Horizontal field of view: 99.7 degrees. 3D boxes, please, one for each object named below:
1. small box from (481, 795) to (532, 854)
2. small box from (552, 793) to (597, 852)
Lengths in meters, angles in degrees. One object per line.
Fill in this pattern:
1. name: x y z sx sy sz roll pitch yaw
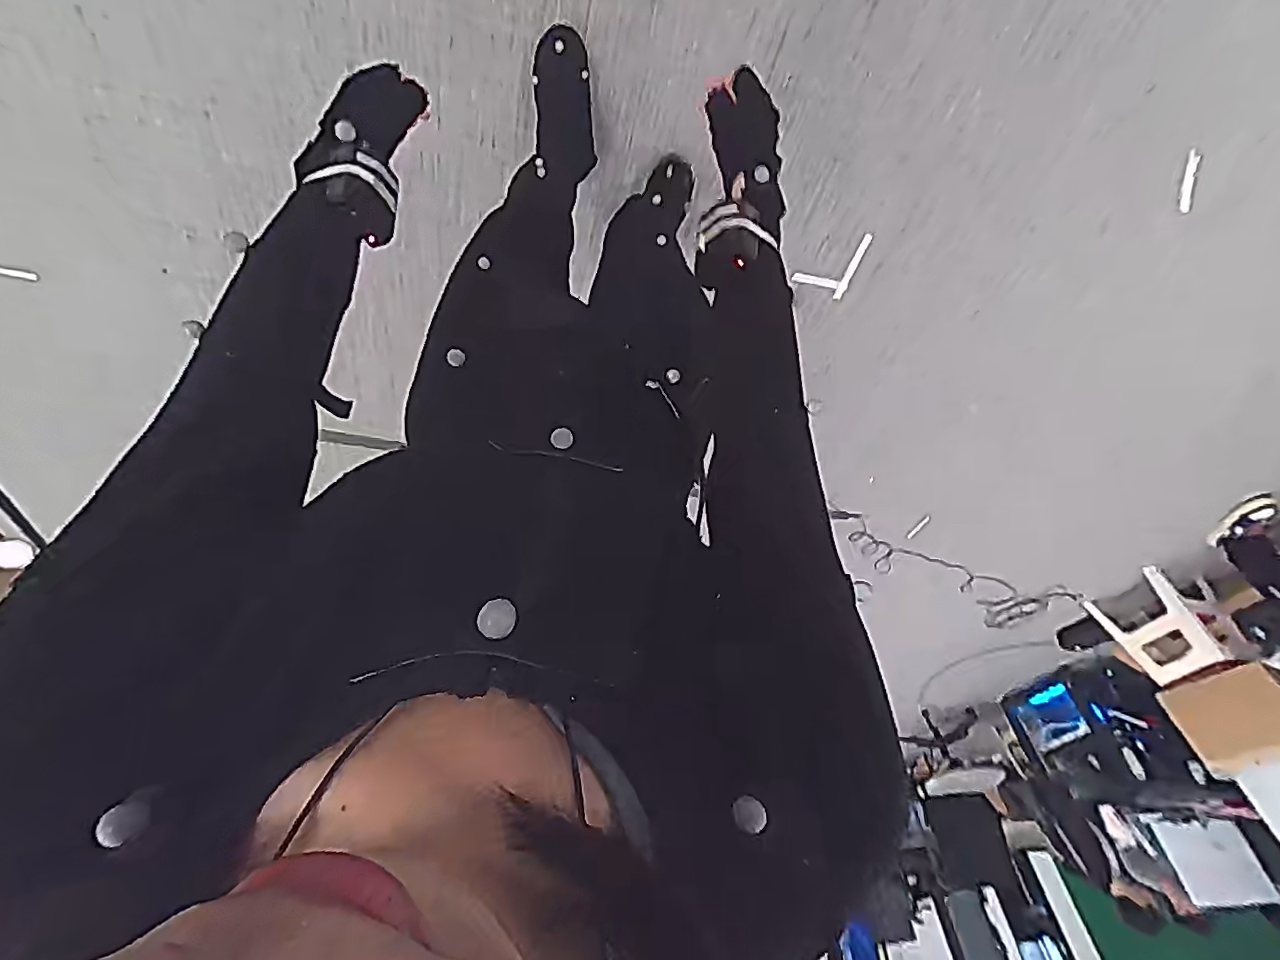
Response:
1. small box: -0.520 1.347 2.116 0.179 0.176 0.168 4 136 -9
2. small box: -0.262 1.371 2.165 0.168 0.176 0.179 3 136 -9
